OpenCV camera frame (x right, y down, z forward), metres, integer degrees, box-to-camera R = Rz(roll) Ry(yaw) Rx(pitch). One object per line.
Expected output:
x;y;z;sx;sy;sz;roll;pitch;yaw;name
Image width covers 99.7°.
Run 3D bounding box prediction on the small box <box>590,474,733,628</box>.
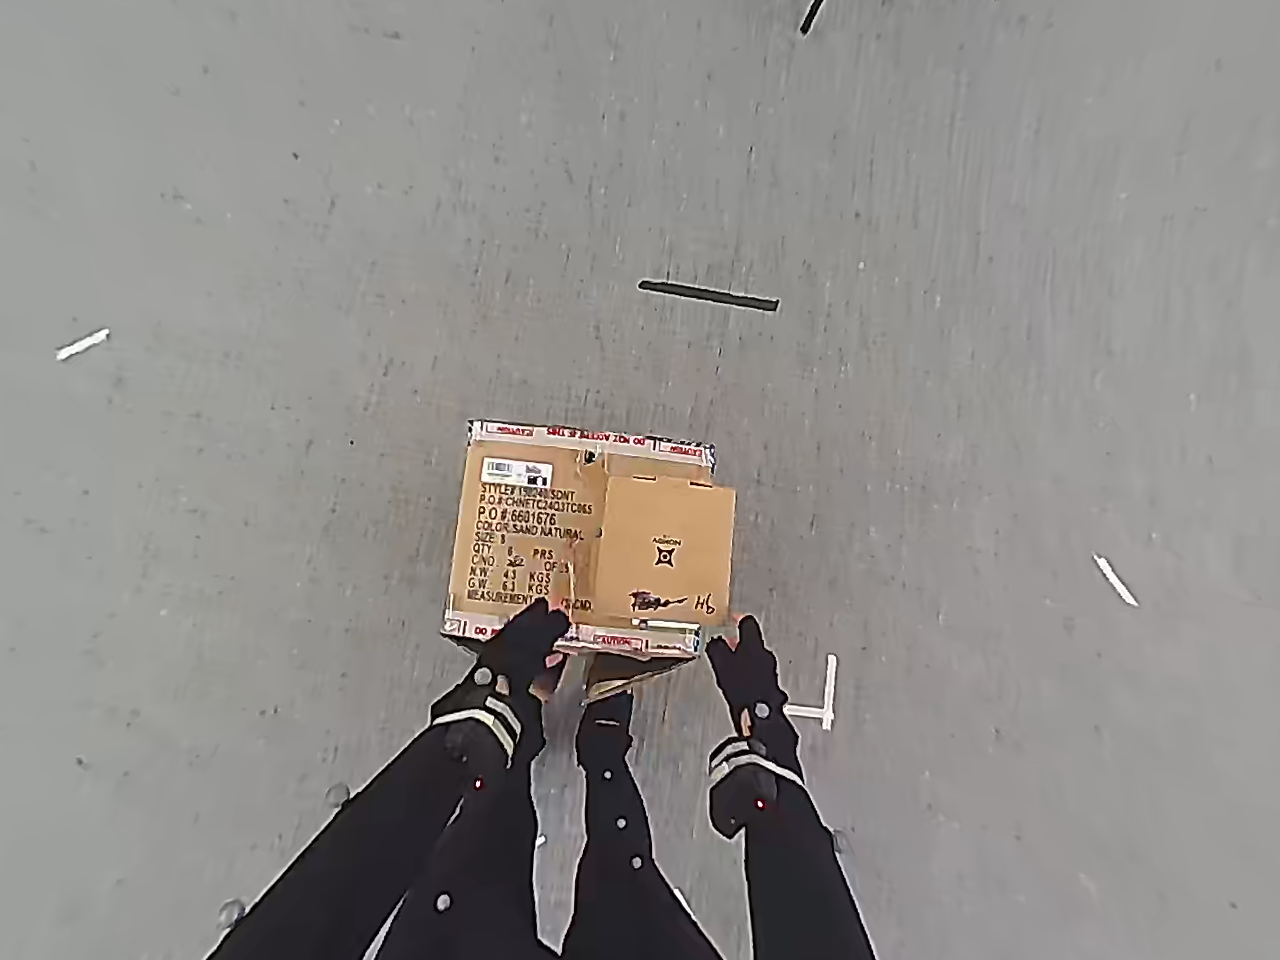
0.022;0.099;0.747;0.168;0.176;0.179;7;81;-4;small box
